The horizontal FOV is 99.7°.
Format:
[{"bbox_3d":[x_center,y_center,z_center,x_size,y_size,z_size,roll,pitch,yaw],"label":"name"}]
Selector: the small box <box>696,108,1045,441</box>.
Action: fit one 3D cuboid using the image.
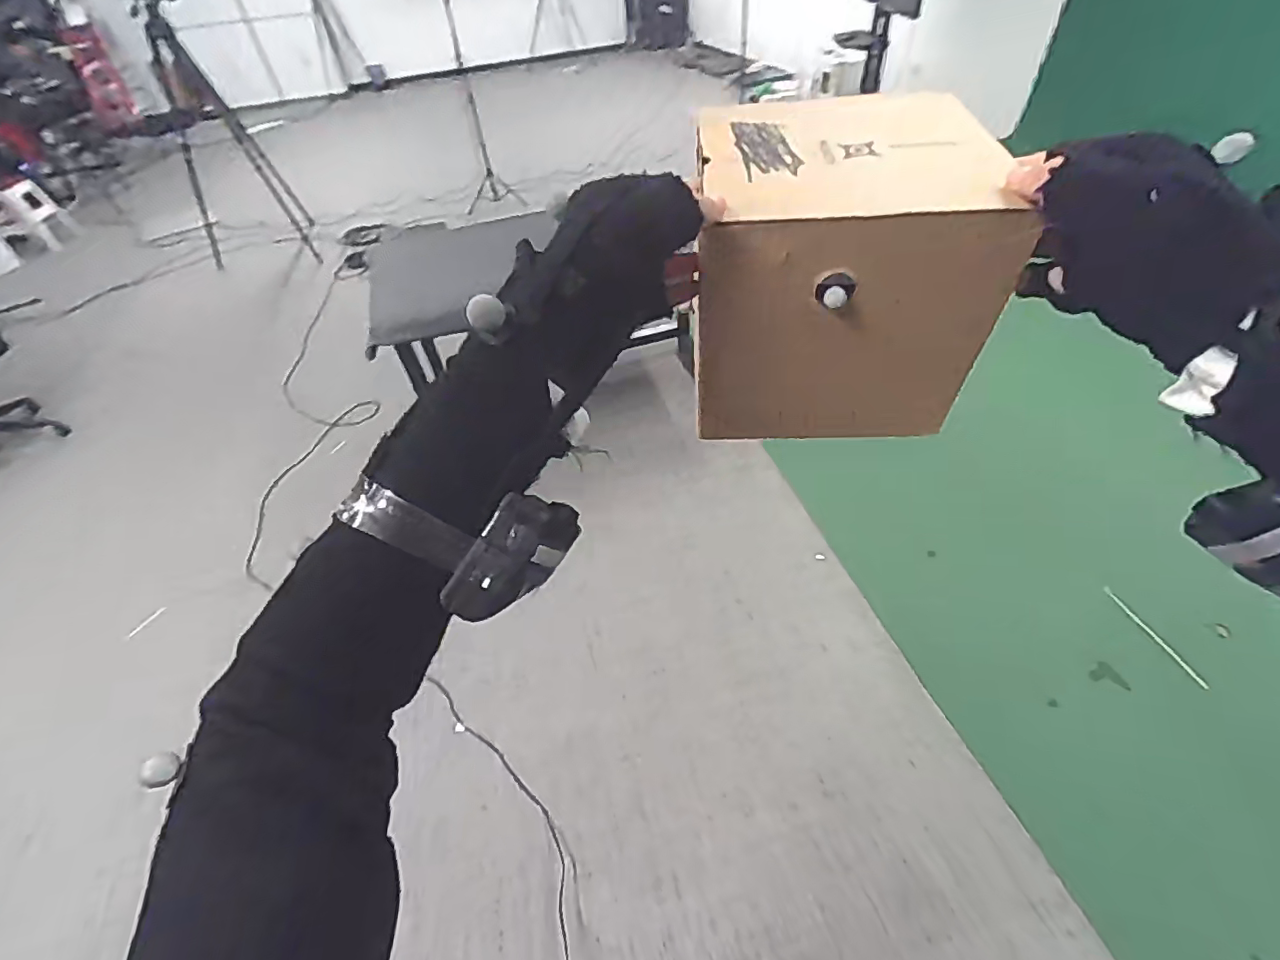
[{"bbox_3d":[0.130,-0.141,0.391,0.179,0.176,0.168,0,51,4],"label":"small box"}]
